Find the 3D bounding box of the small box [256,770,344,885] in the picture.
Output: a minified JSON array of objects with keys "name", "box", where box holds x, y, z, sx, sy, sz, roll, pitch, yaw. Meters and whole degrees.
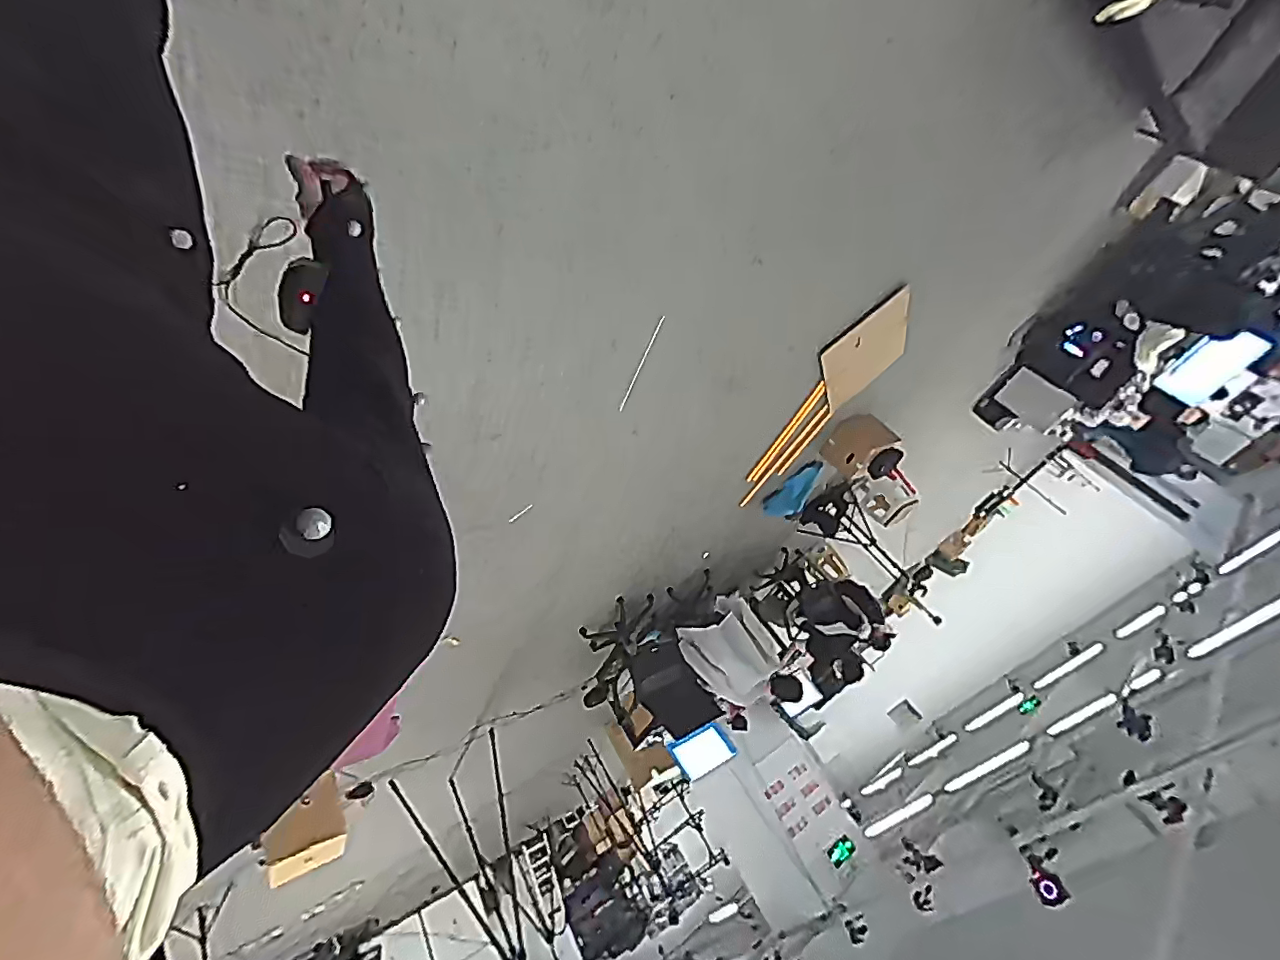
[{"name":"small box","box":[-0.866,0.877,1.376,0.168,0.176,0.179,-8,138,-38]}]
